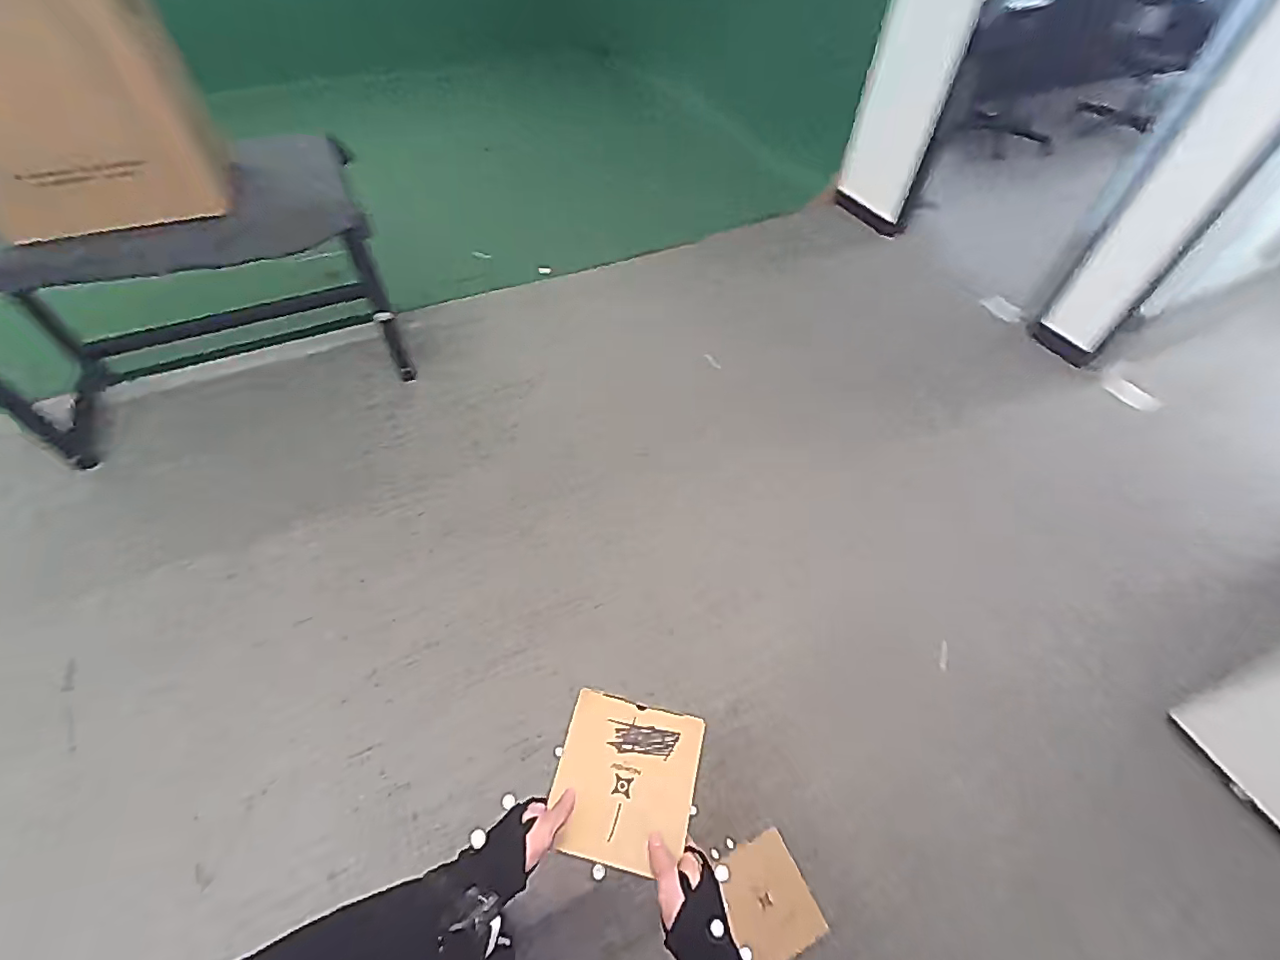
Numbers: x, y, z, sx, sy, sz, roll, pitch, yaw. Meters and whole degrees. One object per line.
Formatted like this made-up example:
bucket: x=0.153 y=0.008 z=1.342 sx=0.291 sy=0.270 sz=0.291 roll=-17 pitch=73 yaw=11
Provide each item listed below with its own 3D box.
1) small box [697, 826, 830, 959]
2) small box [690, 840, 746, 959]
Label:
small box: x=0.224 y=0.801 z=1.035 sx=0.168 sy=0.176 sz=0.179 roll=-19 pitch=56 yaw=-16
small box: x=0.221 y=0.901 z=1.164 sx=0.168 sy=0.176 sz=0.179 roll=-19 pitch=55 yaw=-16
